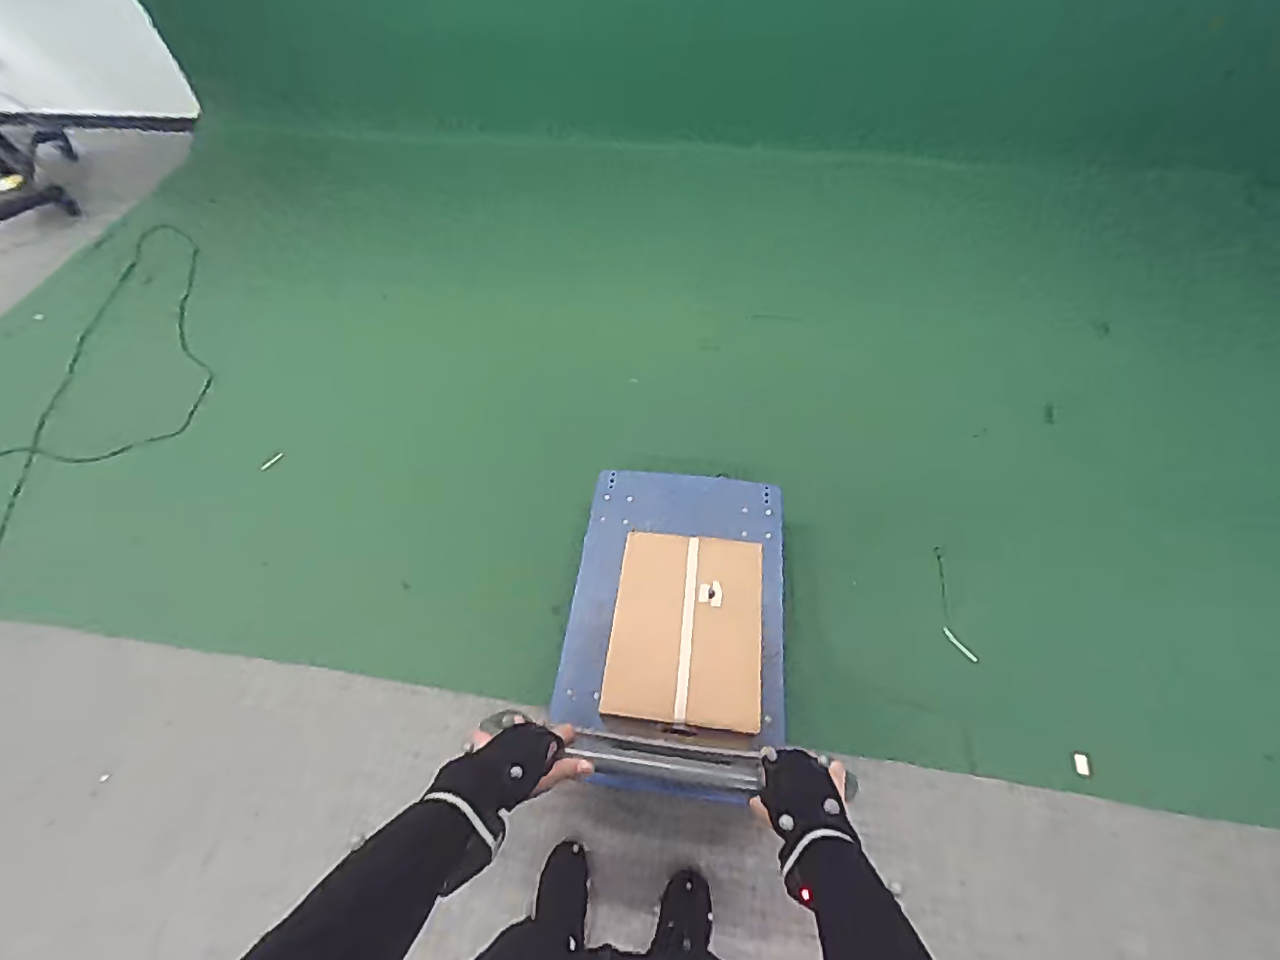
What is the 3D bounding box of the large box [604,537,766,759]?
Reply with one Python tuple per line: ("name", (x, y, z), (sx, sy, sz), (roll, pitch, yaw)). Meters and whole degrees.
("large box", (0.109, 0.391, 1.250), (0.320, 0.320, 0.408), (6, 55, 5))
